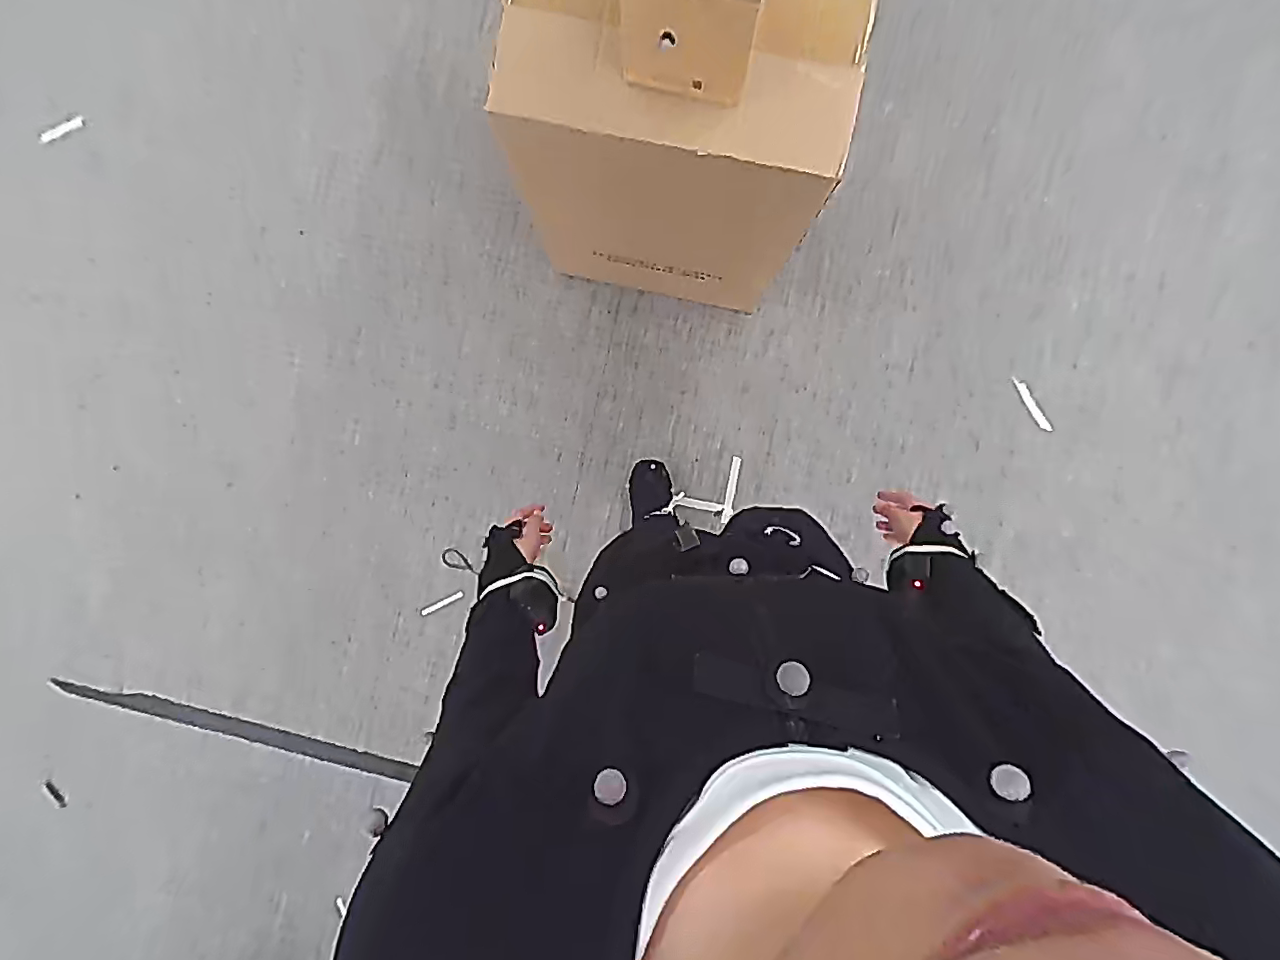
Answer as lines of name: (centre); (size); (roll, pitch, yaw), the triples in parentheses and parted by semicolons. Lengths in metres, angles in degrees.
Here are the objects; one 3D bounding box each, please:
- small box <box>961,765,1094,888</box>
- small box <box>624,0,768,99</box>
small box: (0.906, 0.808, 1.278); (0.179, 0.176, 0.168); (13, 90, 2)
small box: (0.080, -0.626, 0.675); (0.168, 0.176, 0.179); (14, 89, 1)
